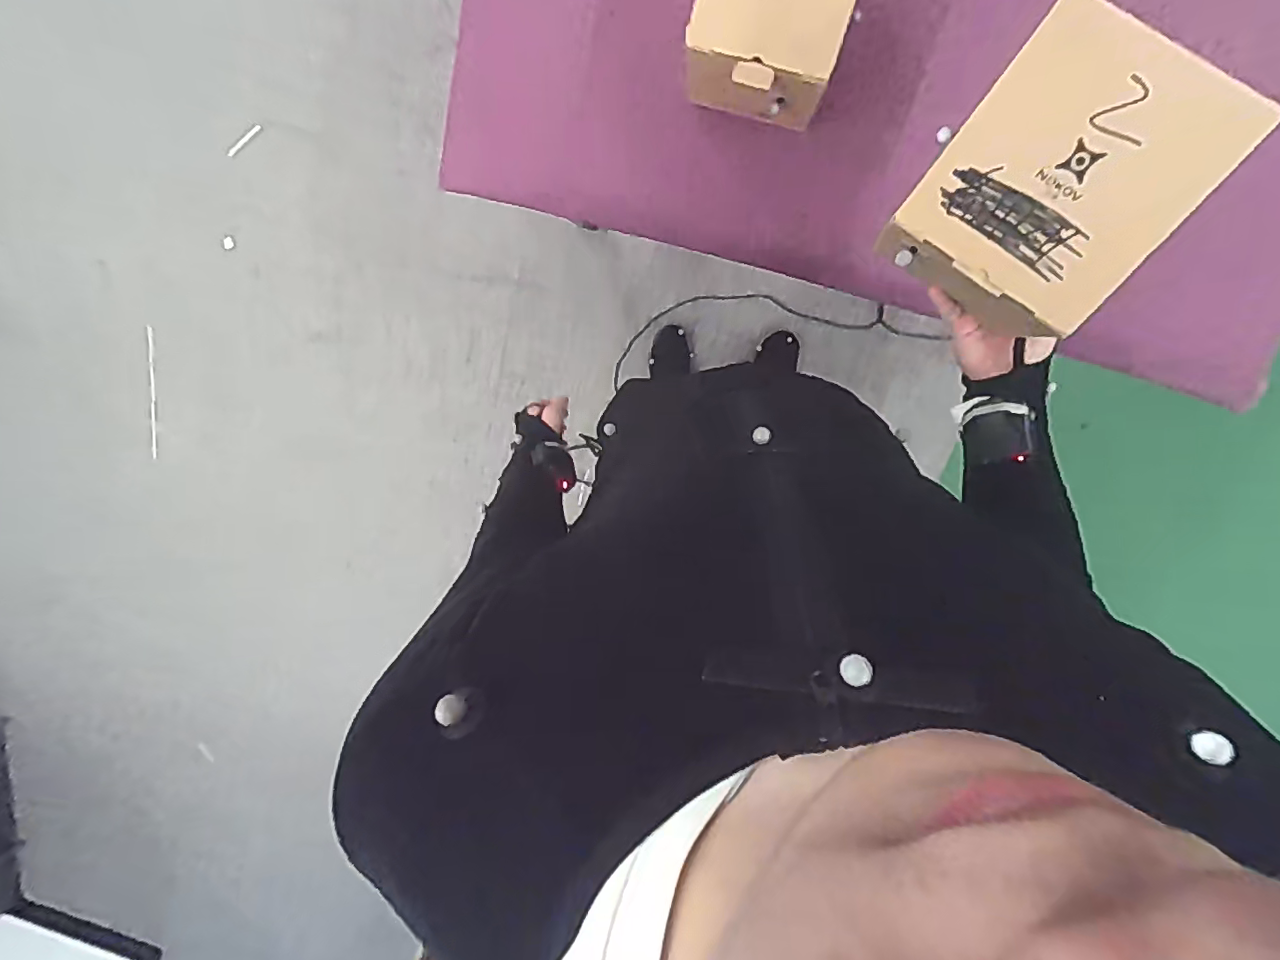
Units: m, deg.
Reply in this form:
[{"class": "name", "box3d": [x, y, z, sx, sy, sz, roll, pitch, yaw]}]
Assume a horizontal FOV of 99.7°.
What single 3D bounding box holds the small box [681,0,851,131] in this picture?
[{"class": "small box", "box3d": [0.158, -0.553, 0.645, 0.168, 0.176, 0.179, 18, 107, 2]}]
